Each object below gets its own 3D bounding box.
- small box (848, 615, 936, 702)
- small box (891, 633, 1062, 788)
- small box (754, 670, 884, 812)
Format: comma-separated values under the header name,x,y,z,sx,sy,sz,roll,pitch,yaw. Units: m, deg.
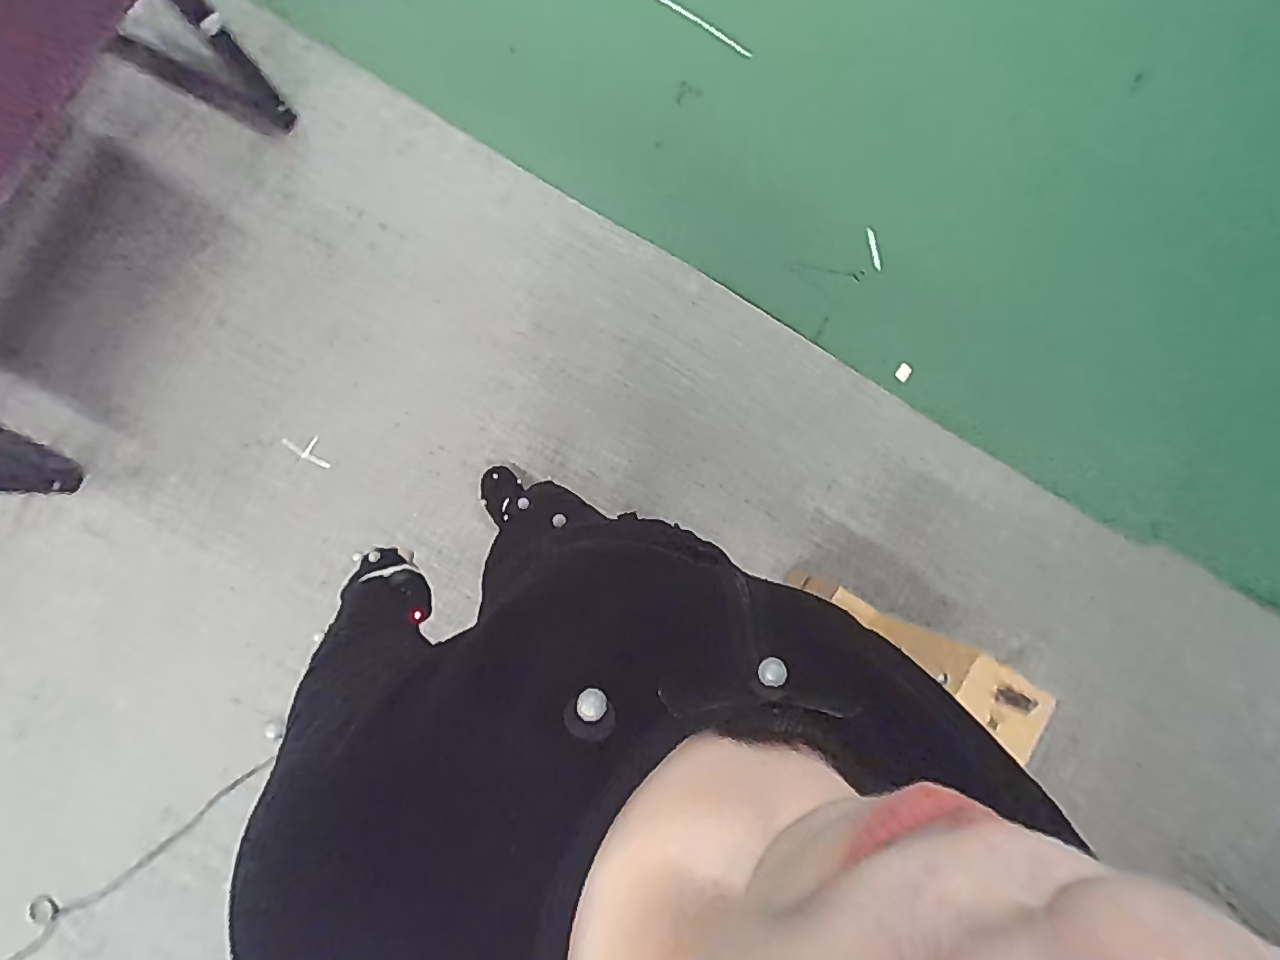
name,x,y,z,sx,sy,sz,roll,pitch,yaw
small box,0.585,0.407,1.147,0.179,0.176,0.168,33,85,-4
small box,0.595,0.403,0.981,0.168,0.176,0.179,32,84,-3
small box,0.357,0.529,1.121,0.168,0.176,0.179,31,86,-4
